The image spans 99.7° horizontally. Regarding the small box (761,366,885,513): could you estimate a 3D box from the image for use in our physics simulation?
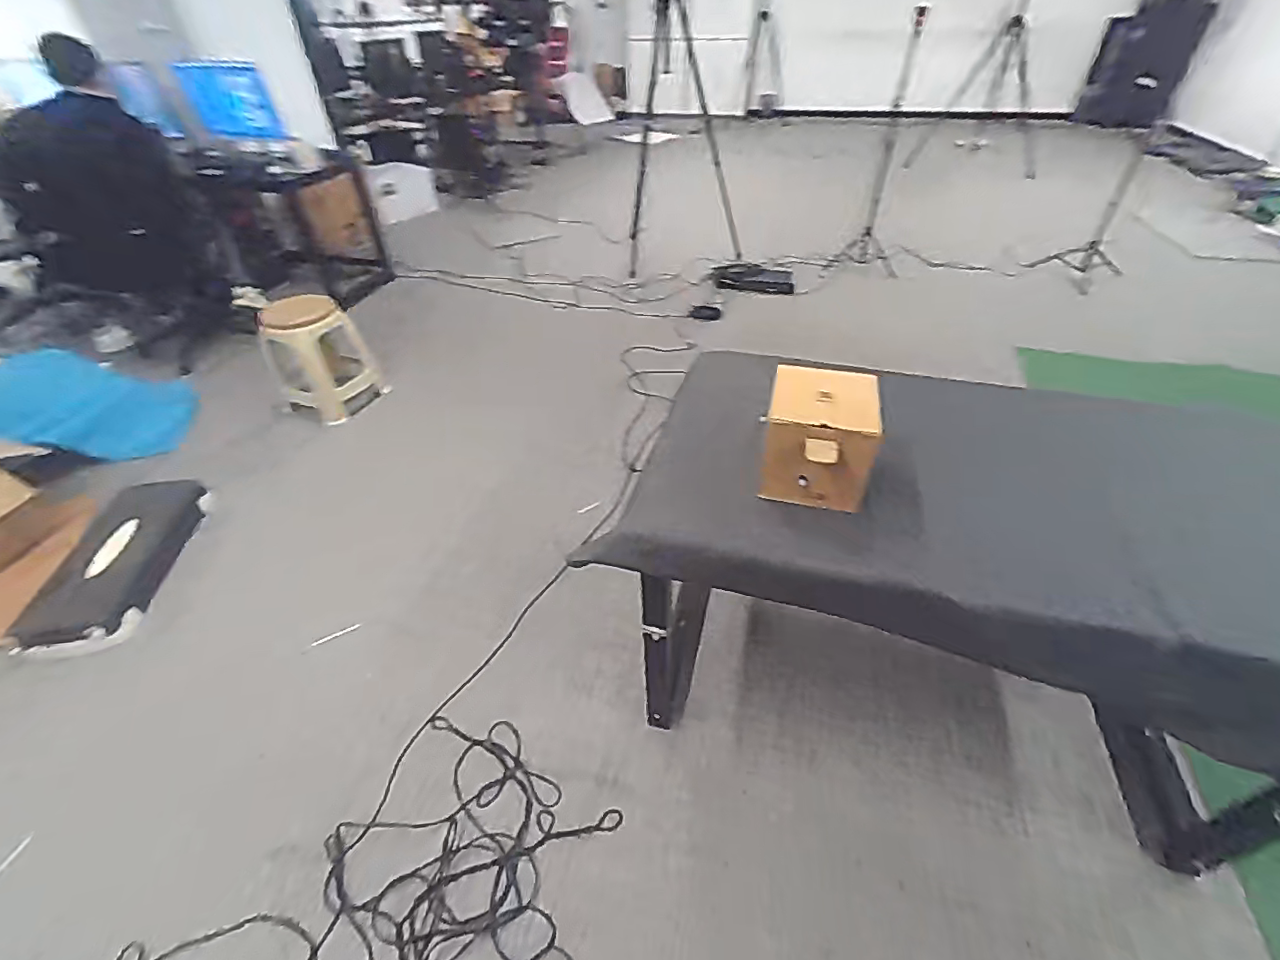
[{"bbox_3d":[0.308,-0.071,0.929,0.168,0.176,0.179,10,43,12],"label":"small box"}]
